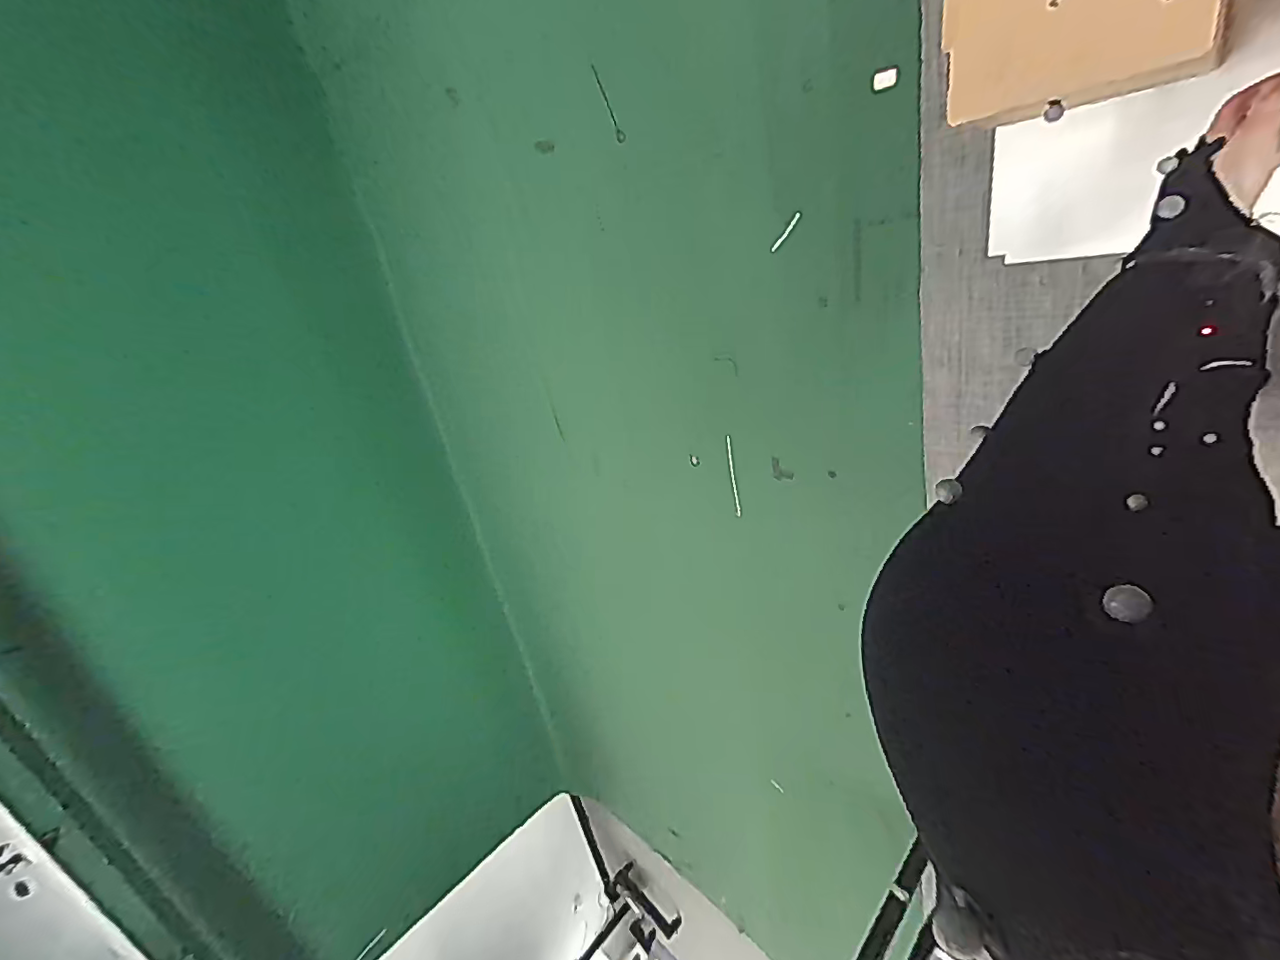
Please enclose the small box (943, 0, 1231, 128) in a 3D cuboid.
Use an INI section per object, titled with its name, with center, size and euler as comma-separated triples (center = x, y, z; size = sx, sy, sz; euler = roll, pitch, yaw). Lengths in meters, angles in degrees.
[small box]
center = 0.389, -0.422, 0.470
size = 0.179, 0.176, 0.168
euler = 12, 123, 45
